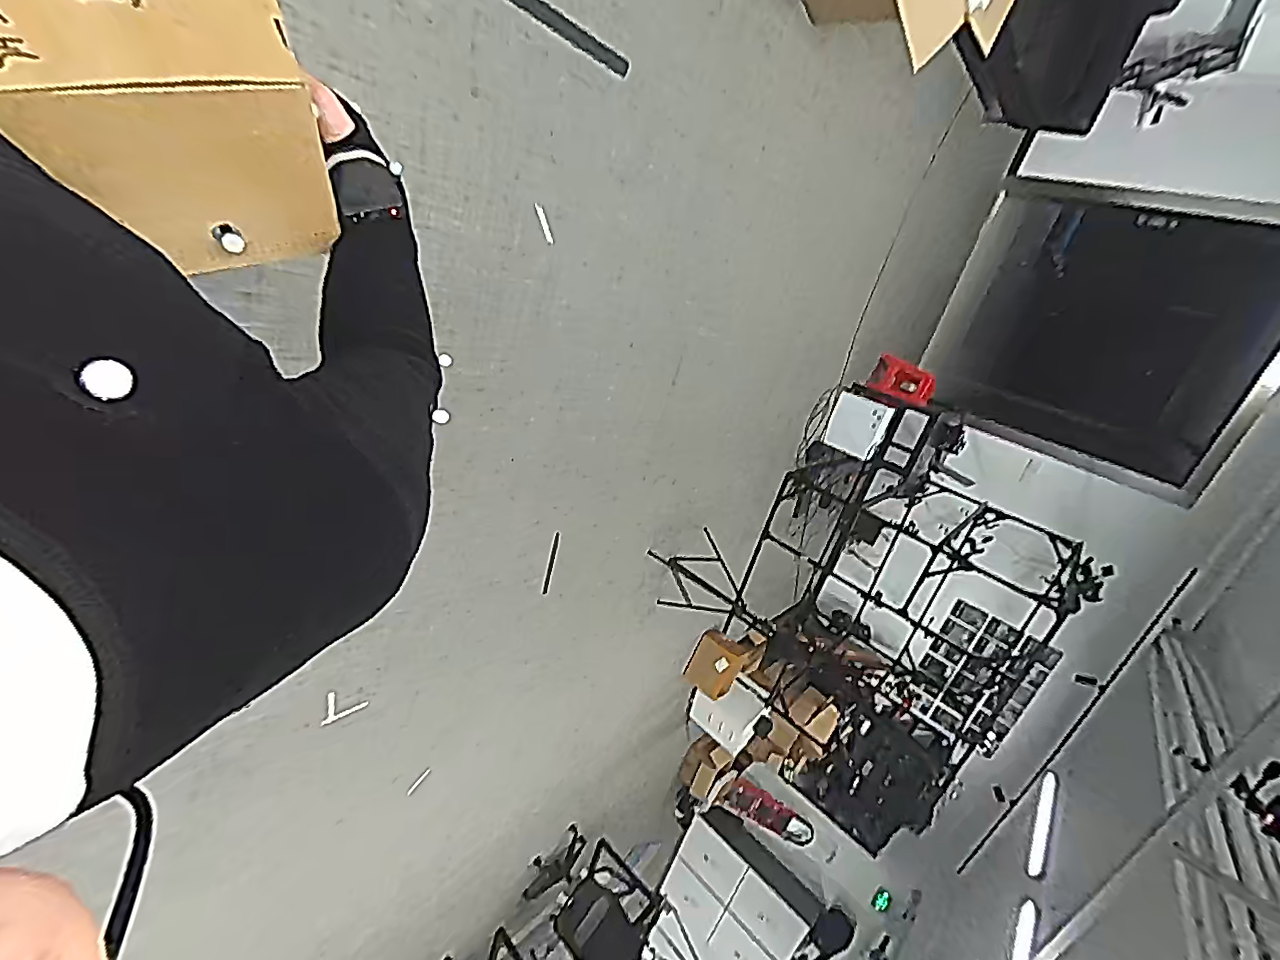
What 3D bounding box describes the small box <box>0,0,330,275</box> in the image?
[{"bbox_3d":[-0.374,-0.296,0.437,0.179,0.168,0.176,-23,170,-26],"label":"small box"}]
